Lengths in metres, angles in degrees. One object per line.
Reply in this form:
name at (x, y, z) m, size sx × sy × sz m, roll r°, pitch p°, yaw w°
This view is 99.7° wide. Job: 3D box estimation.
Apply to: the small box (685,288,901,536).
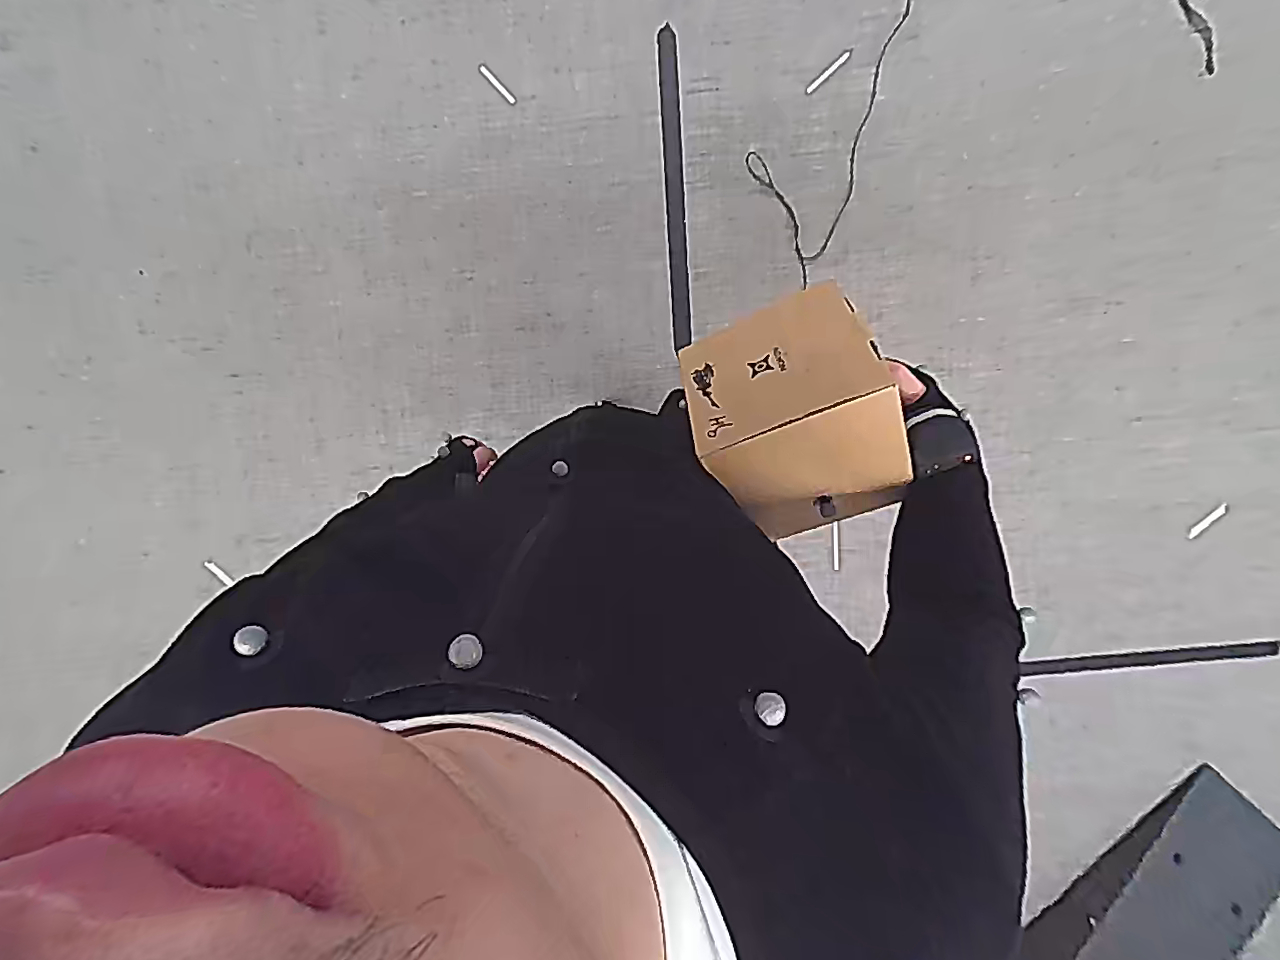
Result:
small box at (0.166, -0.065, 0.586) m, size 0.179 × 0.168 × 0.176 m, roll -20°, pitch 135°, yaw 17°
